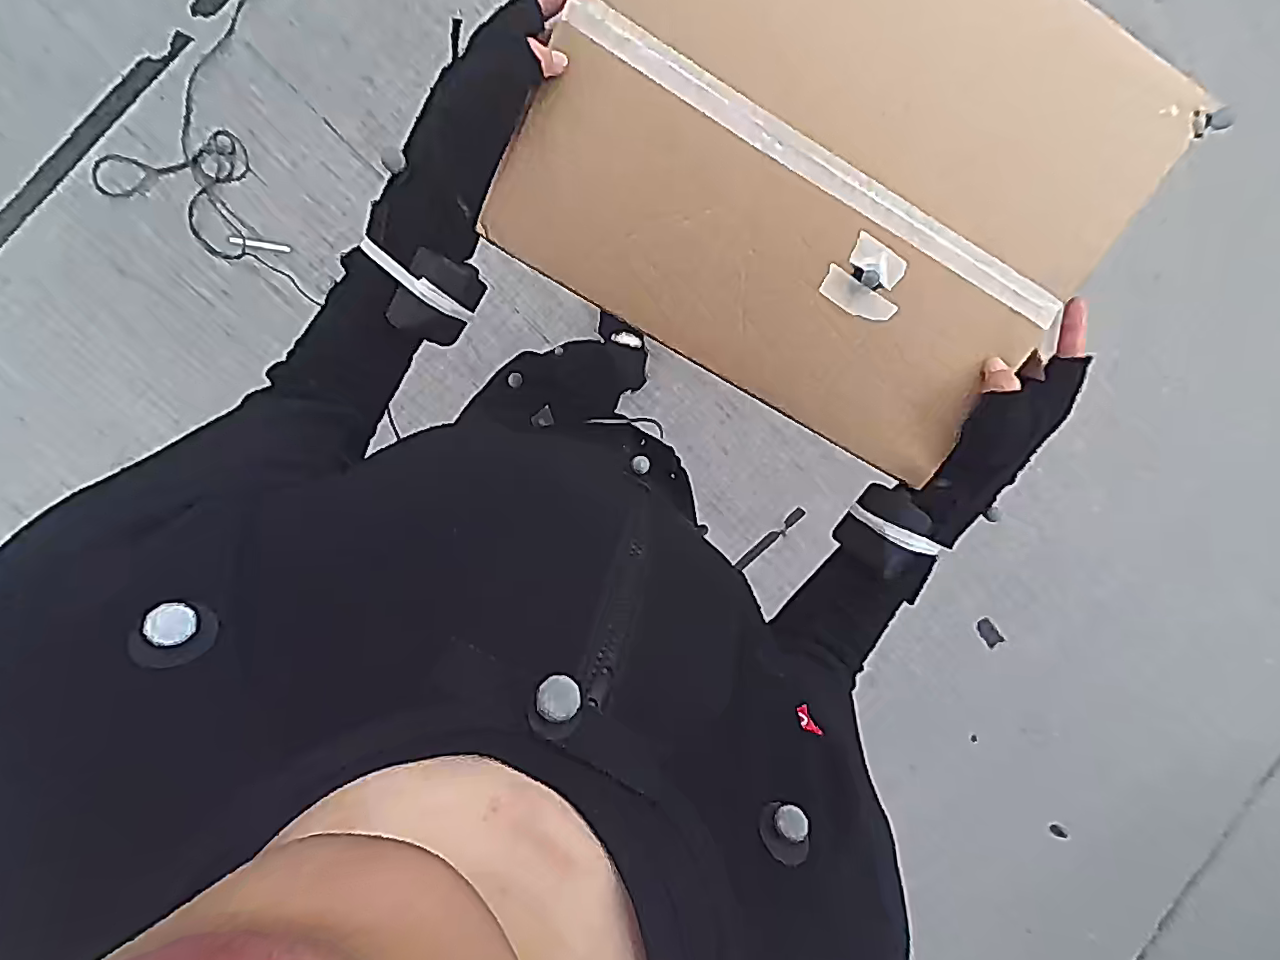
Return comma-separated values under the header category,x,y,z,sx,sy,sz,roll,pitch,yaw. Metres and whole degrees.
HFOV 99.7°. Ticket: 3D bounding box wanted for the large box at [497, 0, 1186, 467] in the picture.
category,x,y,z,sx,sy,sz,roll,pitch,yaw
large box,0.137,-0.272,0.532,0.408,0.320,0.320,29,108,-8
